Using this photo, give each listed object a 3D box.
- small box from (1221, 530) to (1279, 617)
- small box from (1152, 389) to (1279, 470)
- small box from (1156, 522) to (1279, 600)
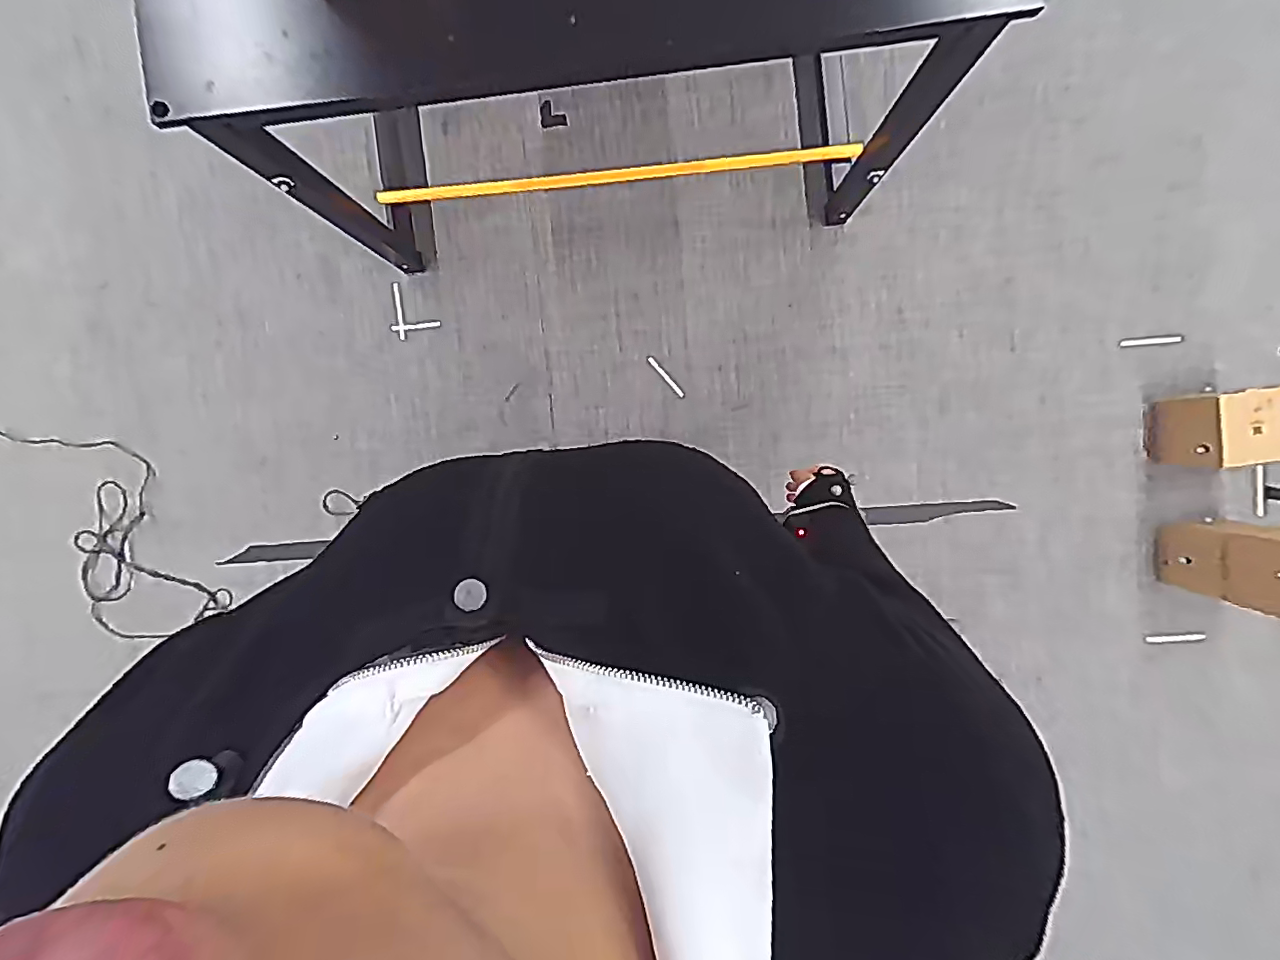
[{"bbox_3d":[1.464,0.209,1.207,0.168,0.176,0.179,-5,95,2],"label":"small box"},{"bbox_3d":[1.435,-0.124,1.348,0.168,0.176,0.179,-8,93,2],"label":"small box"},{"bbox_3d":[1.470,0.202,1.373,0.179,0.176,0.168,-3,94,3],"label":"small box"}]
